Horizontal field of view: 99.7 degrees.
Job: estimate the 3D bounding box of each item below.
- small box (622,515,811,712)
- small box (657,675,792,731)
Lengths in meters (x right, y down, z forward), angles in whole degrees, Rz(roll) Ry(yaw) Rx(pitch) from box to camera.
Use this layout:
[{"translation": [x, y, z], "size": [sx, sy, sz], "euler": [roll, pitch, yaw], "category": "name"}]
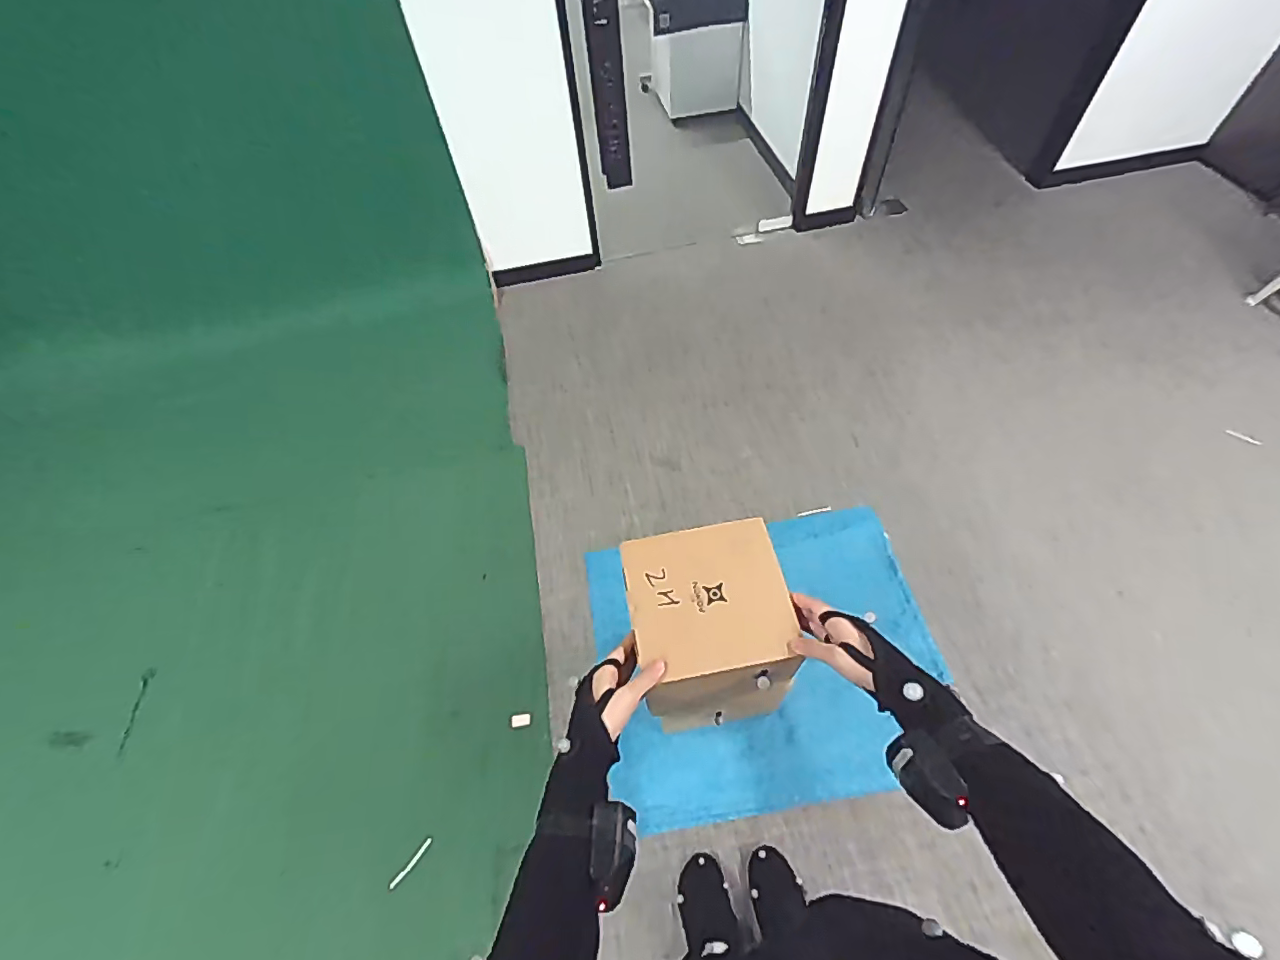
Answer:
[{"translation": [0.080, 0.165, 0.648], "size": [0.179, 0.176, 0.168], "euler": [-10, 56, -2], "category": "small box"}, {"translation": [0.099, 0.253, 0.786], "size": [0.179, 0.176, 0.168], "euler": [-11, 56, -2], "category": "small box"}]
